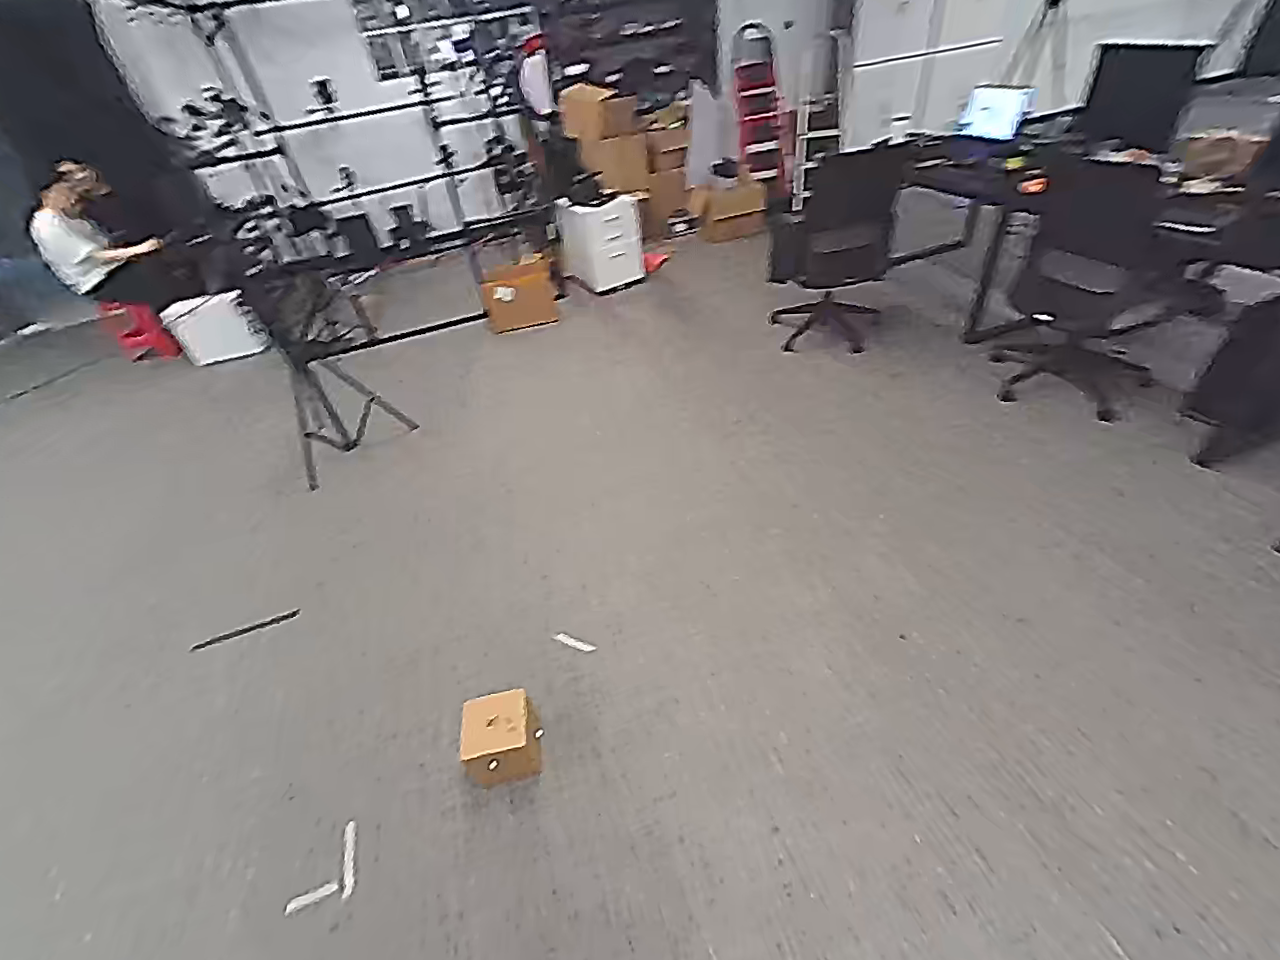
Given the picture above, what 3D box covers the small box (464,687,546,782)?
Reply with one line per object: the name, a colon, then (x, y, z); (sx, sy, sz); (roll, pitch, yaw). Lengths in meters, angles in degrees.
small box: (-0.367, 0.705, 1.490); (0.179, 0.176, 0.168); (-11, 40, -3)
